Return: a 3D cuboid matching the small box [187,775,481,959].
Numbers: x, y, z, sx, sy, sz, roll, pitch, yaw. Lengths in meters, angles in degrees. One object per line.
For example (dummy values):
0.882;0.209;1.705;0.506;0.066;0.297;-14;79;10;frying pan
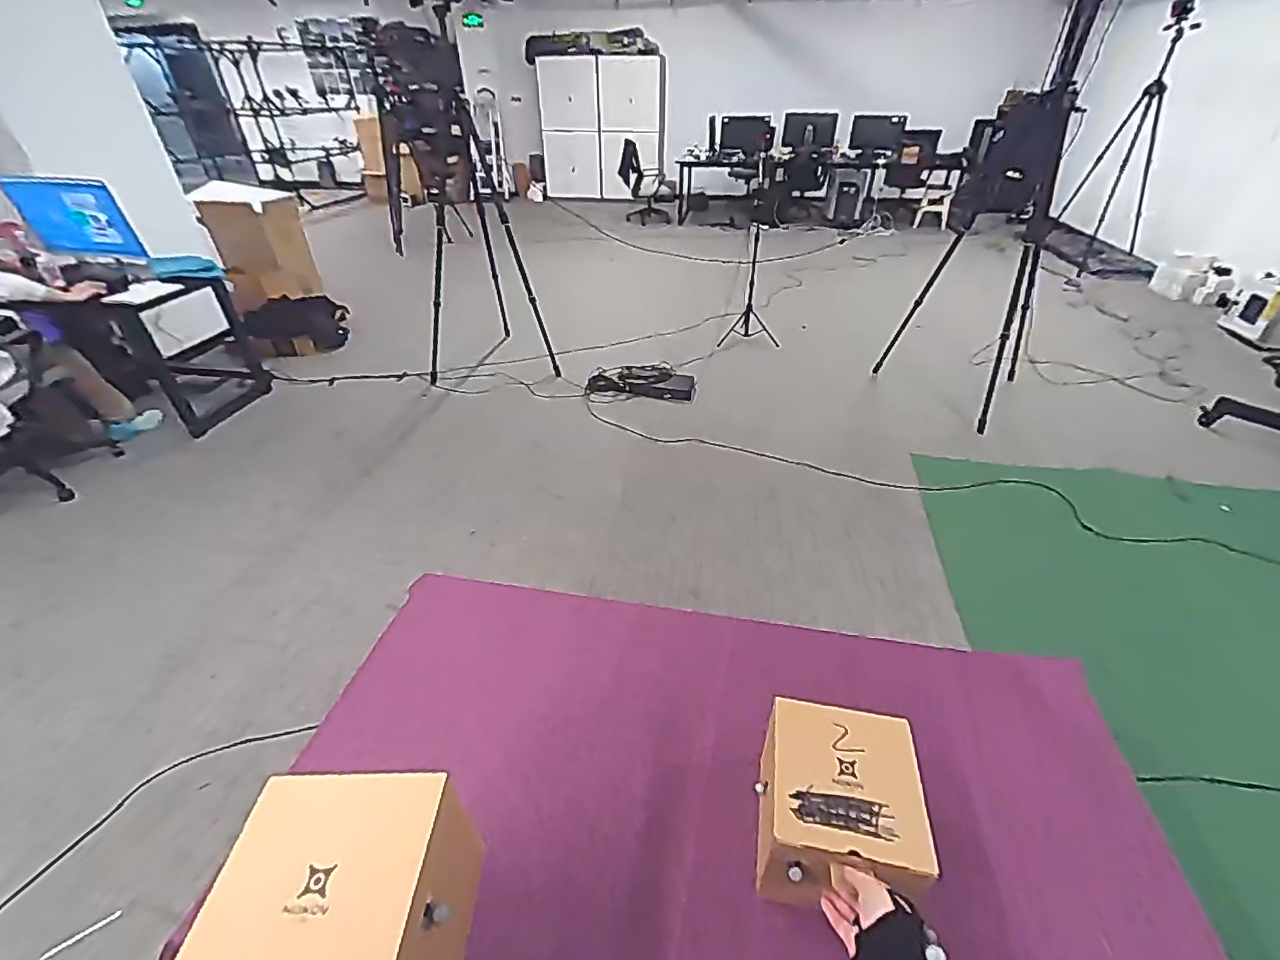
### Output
-0.253;0.394;0.485;0.168;0.176;0.179;-2;37;1;small box
